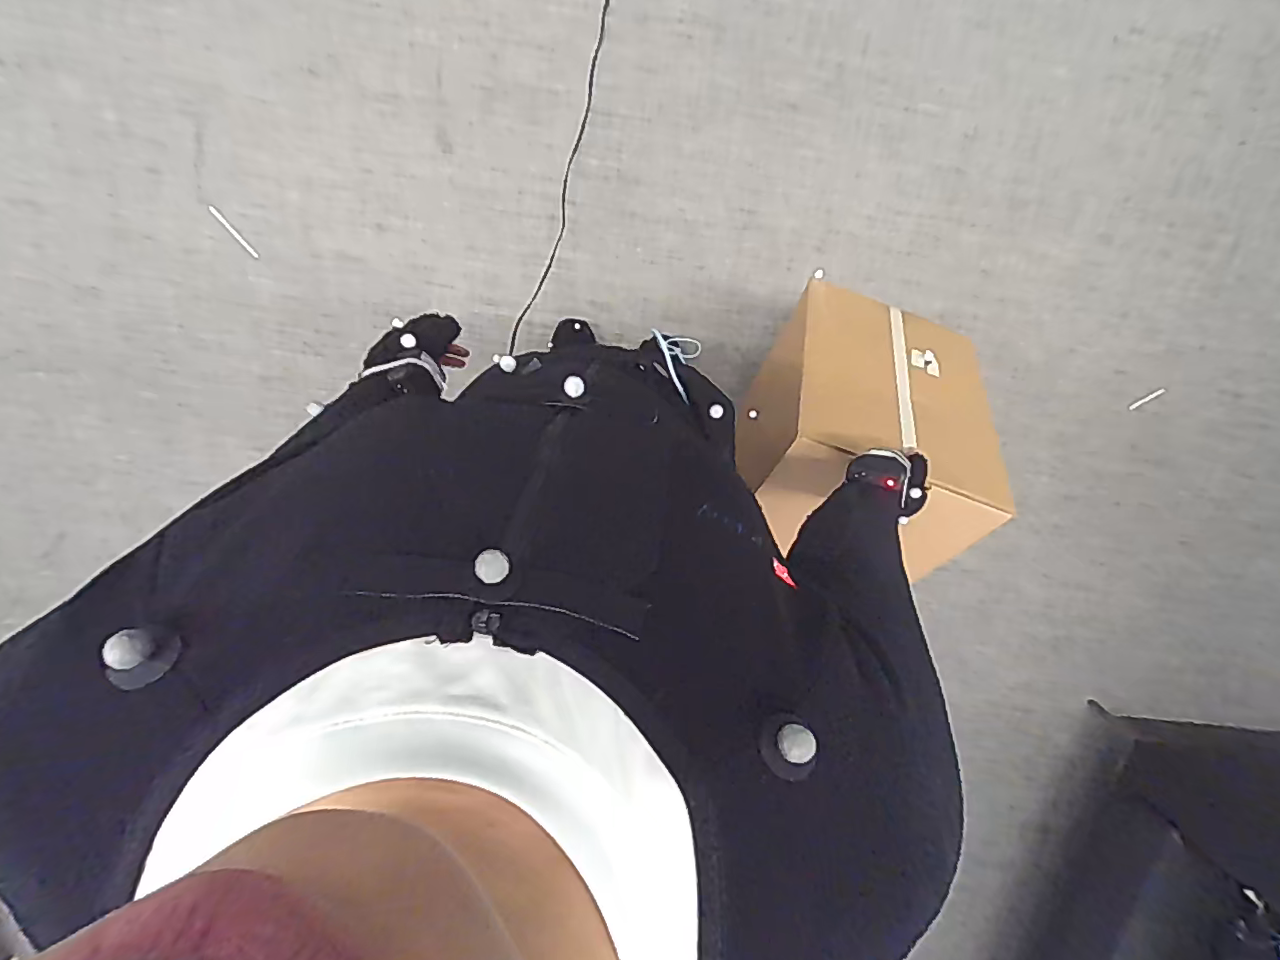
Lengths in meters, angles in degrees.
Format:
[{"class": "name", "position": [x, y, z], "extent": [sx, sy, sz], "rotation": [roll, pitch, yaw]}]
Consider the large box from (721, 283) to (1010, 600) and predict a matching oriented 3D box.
[{"class": "large box", "position": [0.358, -0.064, 0.949], "extent": [0.320, 0.408, 0.320], "rotation": [21, 141, -3]}]
